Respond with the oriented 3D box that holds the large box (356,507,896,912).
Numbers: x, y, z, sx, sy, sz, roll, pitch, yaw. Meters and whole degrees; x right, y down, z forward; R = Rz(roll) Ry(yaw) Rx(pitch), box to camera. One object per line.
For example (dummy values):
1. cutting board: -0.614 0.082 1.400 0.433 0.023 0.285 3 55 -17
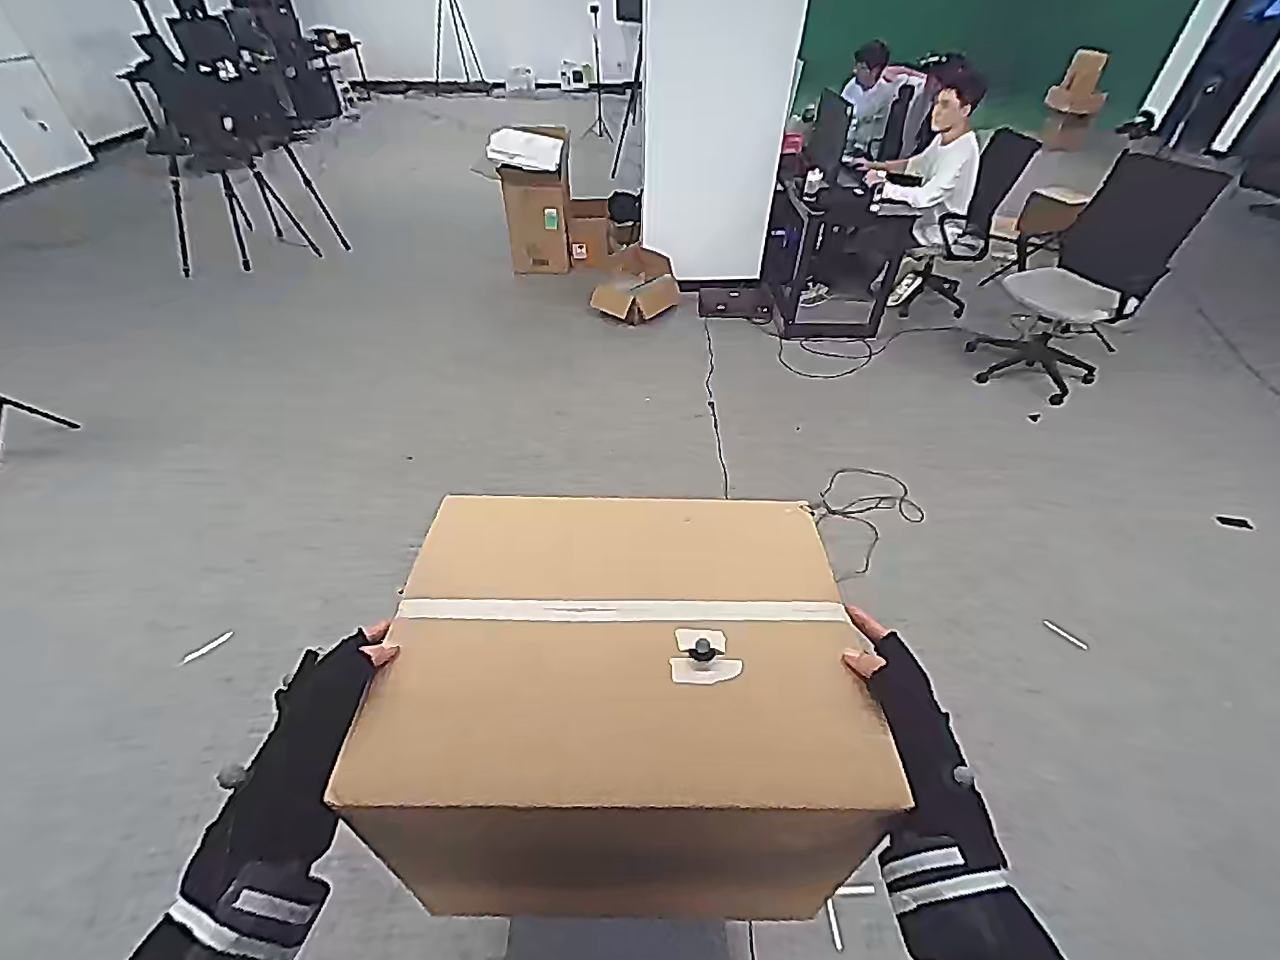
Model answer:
1. large box: -0.014 0.245 0.598 0.408 0.320 0.320 1 40 -1
